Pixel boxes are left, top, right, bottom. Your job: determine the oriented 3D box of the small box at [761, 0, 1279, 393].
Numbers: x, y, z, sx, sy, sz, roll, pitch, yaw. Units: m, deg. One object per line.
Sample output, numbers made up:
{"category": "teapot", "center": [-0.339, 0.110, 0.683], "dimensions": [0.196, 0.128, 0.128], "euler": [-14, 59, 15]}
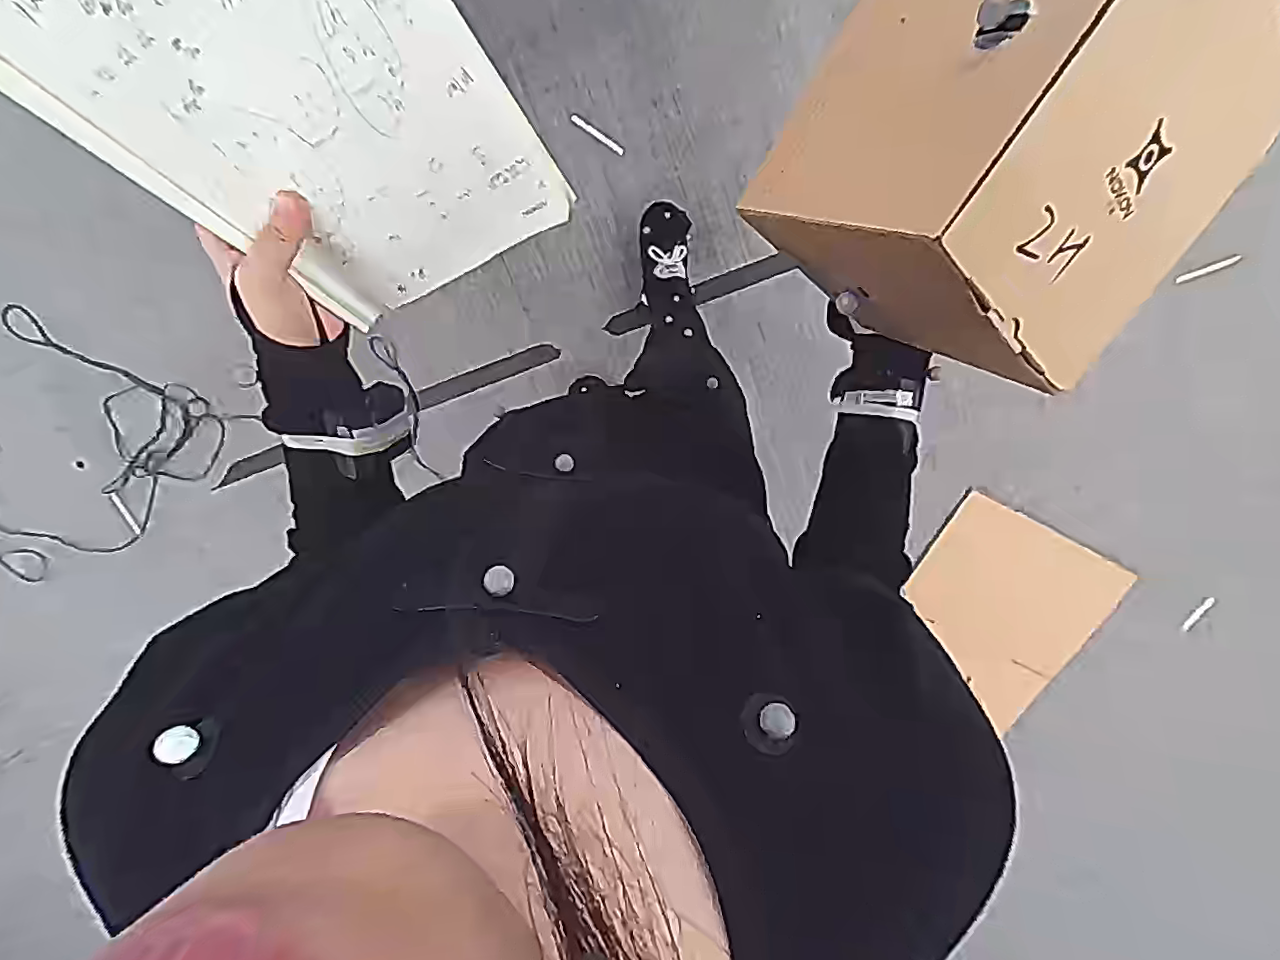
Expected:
{"category": "small box", "center": [0.207, -0.185, 0.320], "dimensions": [0.168, 0.176, 0.179], "euler": [23, 106, -34]}
